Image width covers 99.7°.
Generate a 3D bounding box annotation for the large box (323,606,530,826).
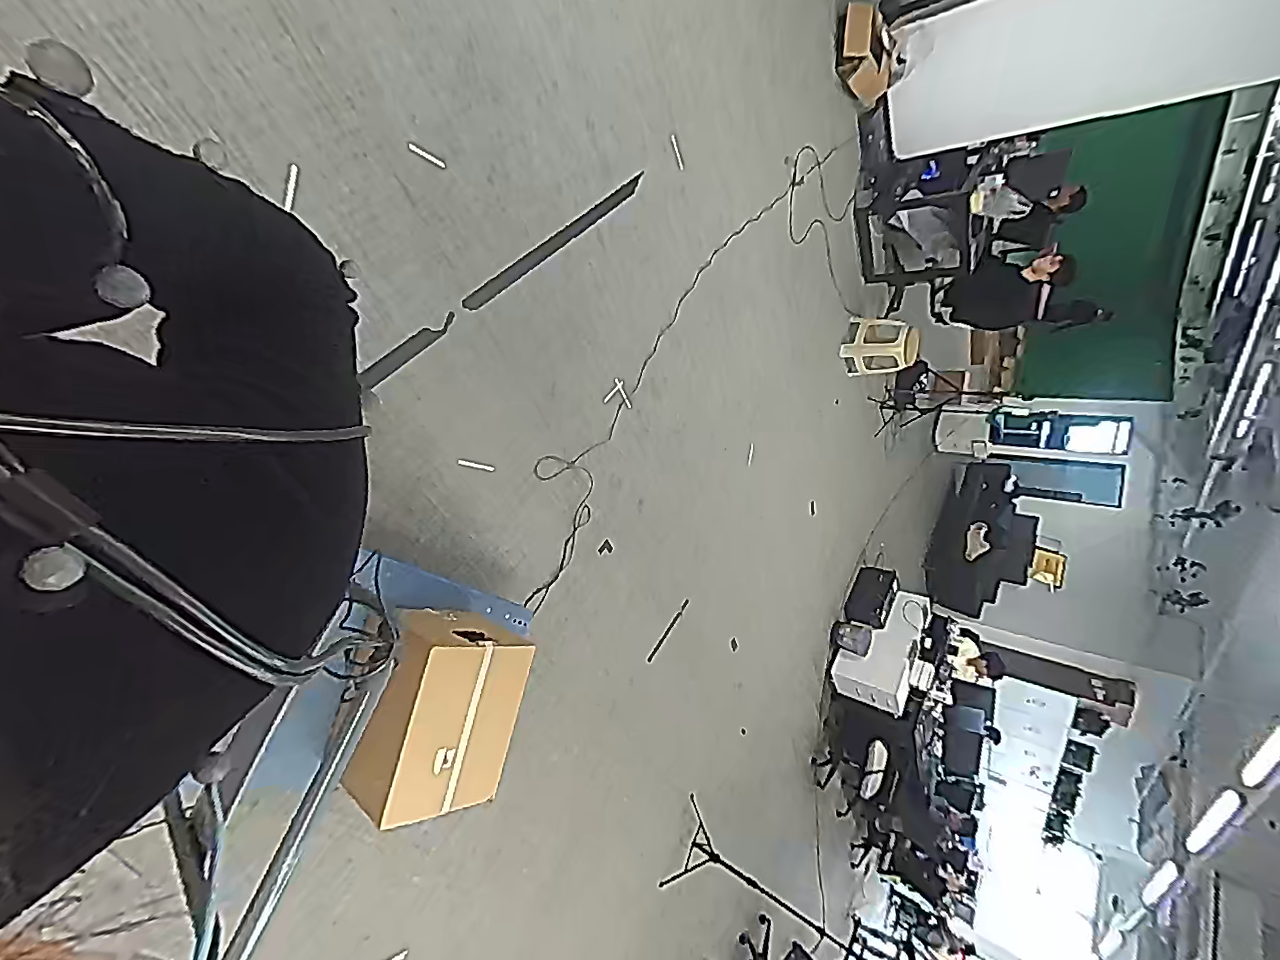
[{"bbox_3d":[-0.540,0.560,1.379,0.320,0.320,0.408,21,82,-50],"label":"large box"}]
